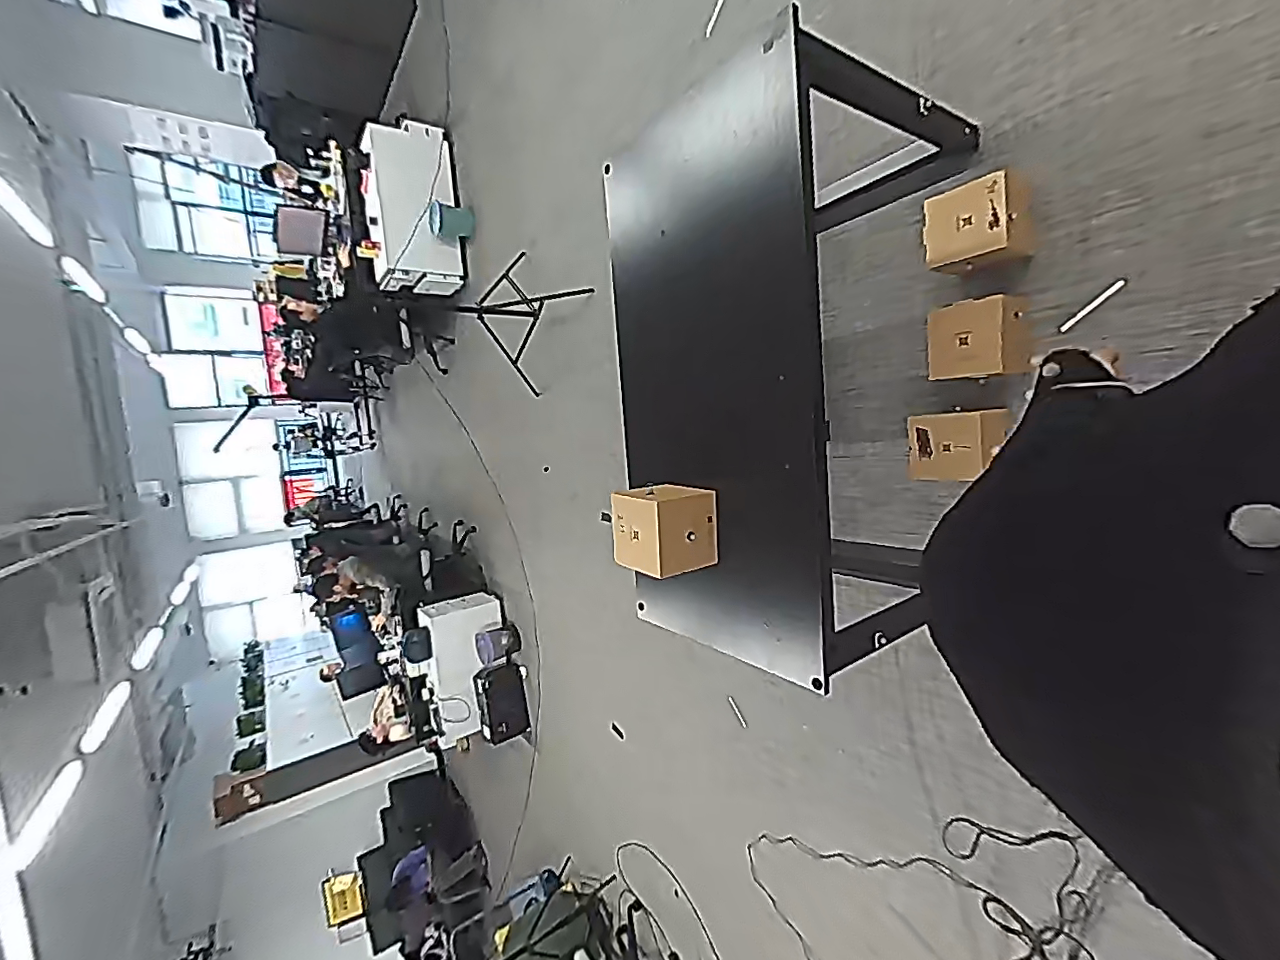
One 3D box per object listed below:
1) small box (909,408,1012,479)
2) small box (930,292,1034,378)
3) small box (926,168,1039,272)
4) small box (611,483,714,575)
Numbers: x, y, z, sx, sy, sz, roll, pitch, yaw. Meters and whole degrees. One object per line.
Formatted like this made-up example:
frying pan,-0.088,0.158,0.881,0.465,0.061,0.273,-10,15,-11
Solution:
small box,0.815,-0.094,1.376,0.179,0.176,0.168,2,99,54
small box,0.828,-0.342,1.310,0.168,0.176,0.179,3,100,56
small box,0.809,-0.603,1.279,0.179,0.176,0.168,2,99,55
small box,0.055,0.101,1.221,0.179,0.176,0.168,9,103,54
